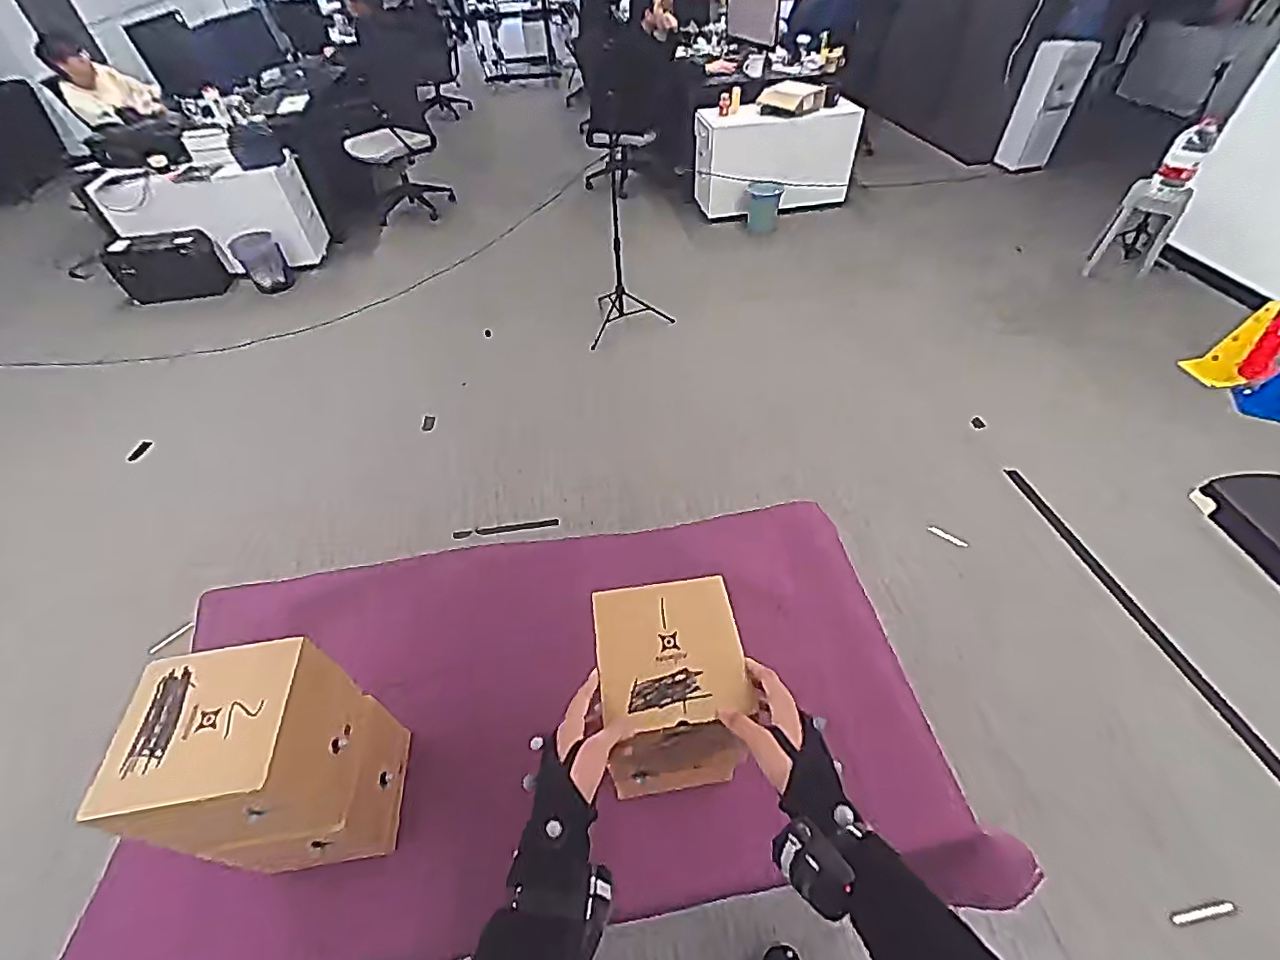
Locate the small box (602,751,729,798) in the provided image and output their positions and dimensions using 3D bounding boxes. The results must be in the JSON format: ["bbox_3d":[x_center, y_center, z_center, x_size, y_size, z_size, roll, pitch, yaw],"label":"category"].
[{"bbox_3d":[0.033,0.349,0.796,0.179,0.176,0.168,-8,47,-4],"label":"small box"}]

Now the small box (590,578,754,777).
[{"bbox_3d":[0.032,0.248,0.666,0.168,0.176,0.179,-7,46,-4],"label":"small box"}]

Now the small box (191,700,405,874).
[{"bbox_3d":[-0.447,0.426,0.748,0.179,0.176,0.168,-7,47,-4],"label":"small box"}]
